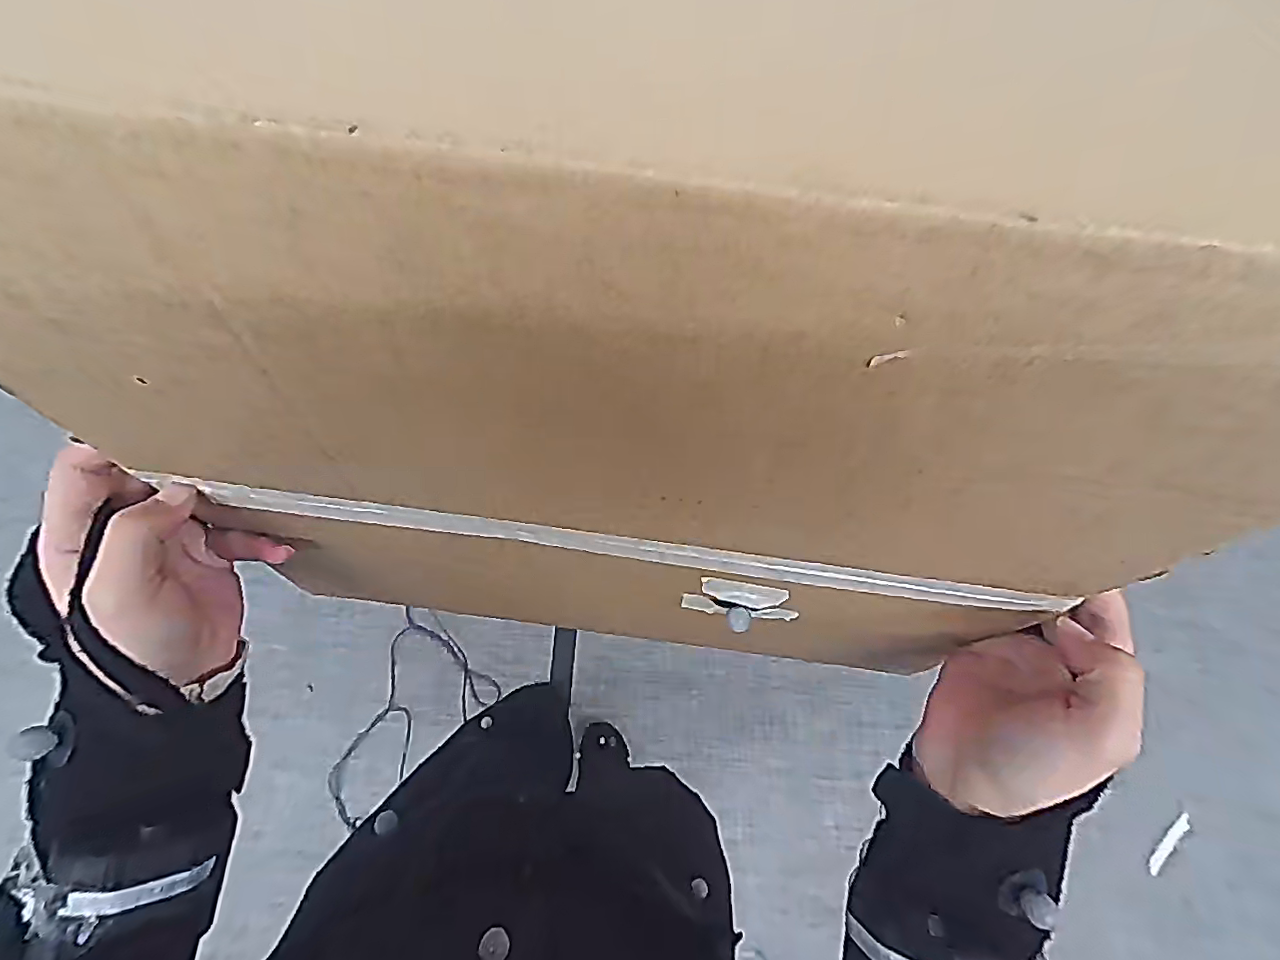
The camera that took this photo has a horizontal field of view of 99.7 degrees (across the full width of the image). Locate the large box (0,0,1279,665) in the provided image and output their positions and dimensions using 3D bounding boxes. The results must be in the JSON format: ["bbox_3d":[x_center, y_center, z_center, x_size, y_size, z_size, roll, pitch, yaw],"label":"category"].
[{"bbox_3d":[0.000,-0.103,0.317,0.408,0.320,0.320,7,60,0],"label":"large box"}]
